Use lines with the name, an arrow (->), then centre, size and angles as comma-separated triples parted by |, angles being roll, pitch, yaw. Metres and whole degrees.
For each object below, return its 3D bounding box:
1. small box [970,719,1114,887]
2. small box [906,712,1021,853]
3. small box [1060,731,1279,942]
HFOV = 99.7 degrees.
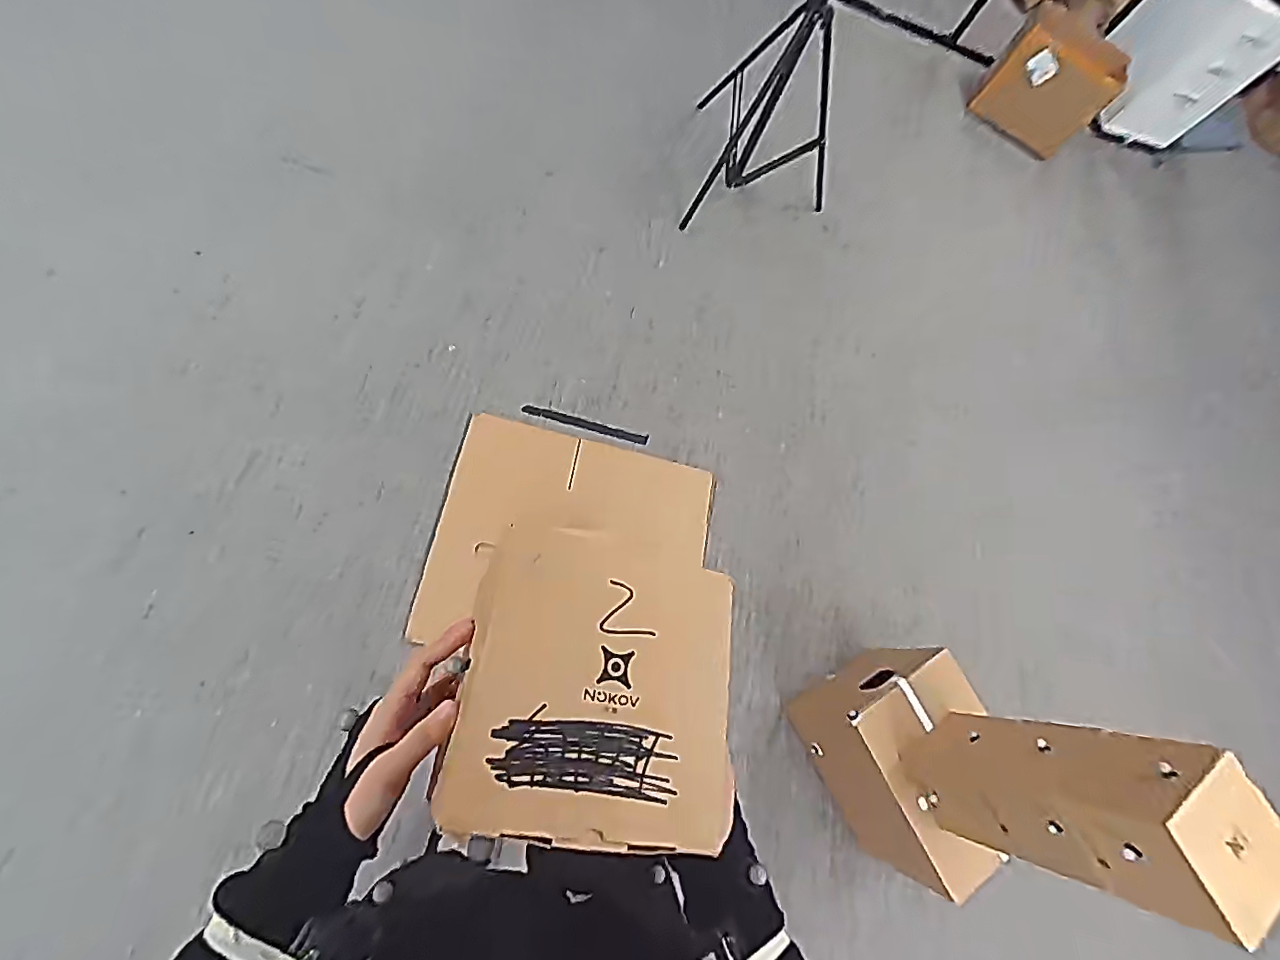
small box -> 0.720, 0.534, 0.928 | 0.179, 0.176, 0.168 | -25, 80, -21
small box -> 0.679, 0.586, 1.078 | 0.179, 0.176, 0.168 | -26, 80, -20
small box -> 0.758, 0.489, 0.776 | 0.179, 0.176, 0.168 | -26, 80, -21
